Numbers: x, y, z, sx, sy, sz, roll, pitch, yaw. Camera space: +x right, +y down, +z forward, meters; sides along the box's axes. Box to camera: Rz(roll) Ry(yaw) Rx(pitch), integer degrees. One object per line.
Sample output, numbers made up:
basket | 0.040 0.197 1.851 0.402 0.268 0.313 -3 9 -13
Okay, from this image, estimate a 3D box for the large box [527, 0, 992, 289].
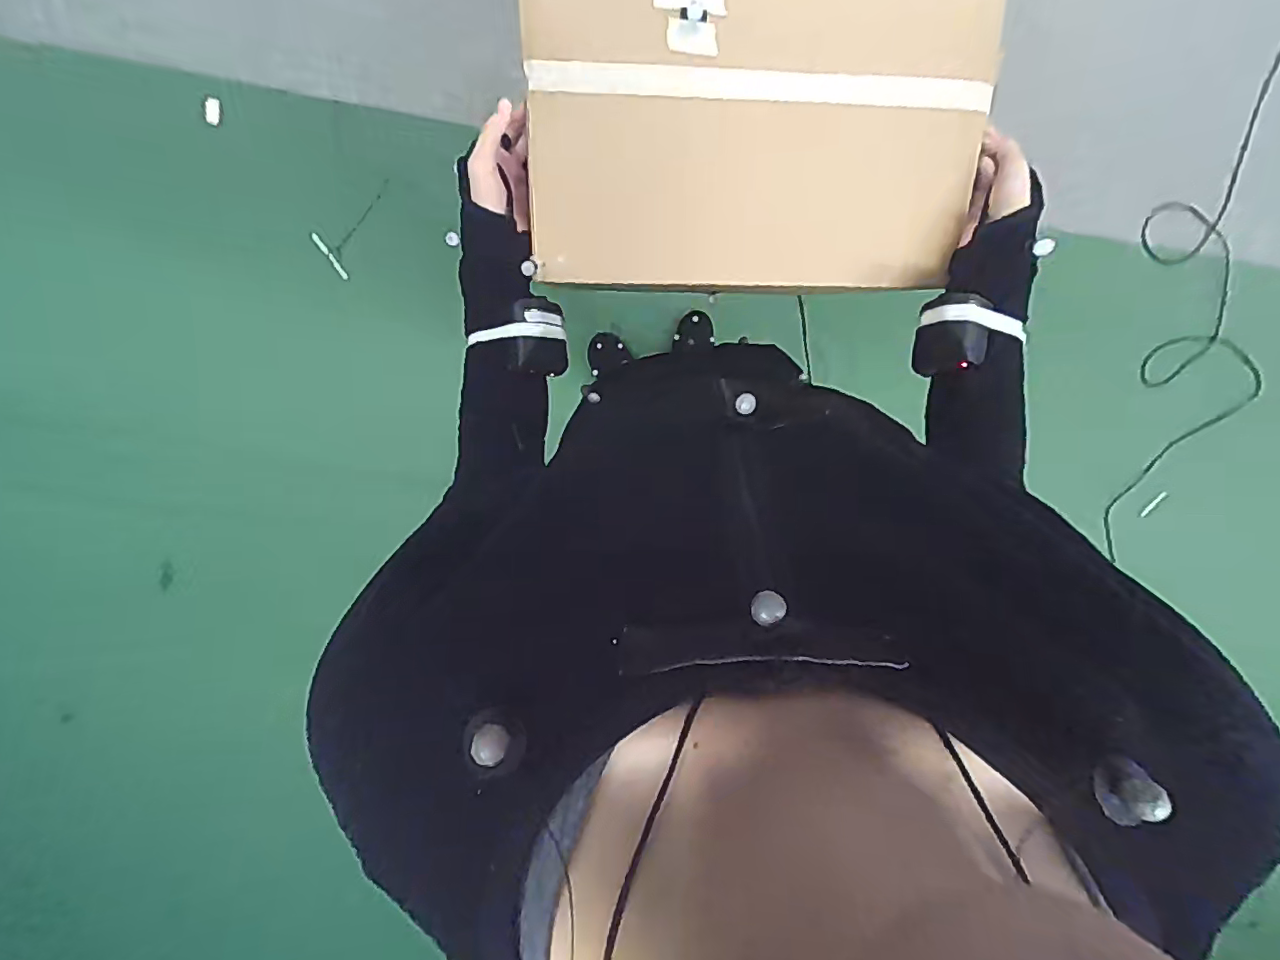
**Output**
large box | 0.092 -0.388 0.615 0.408 0.320 0.320 0 109 -6
